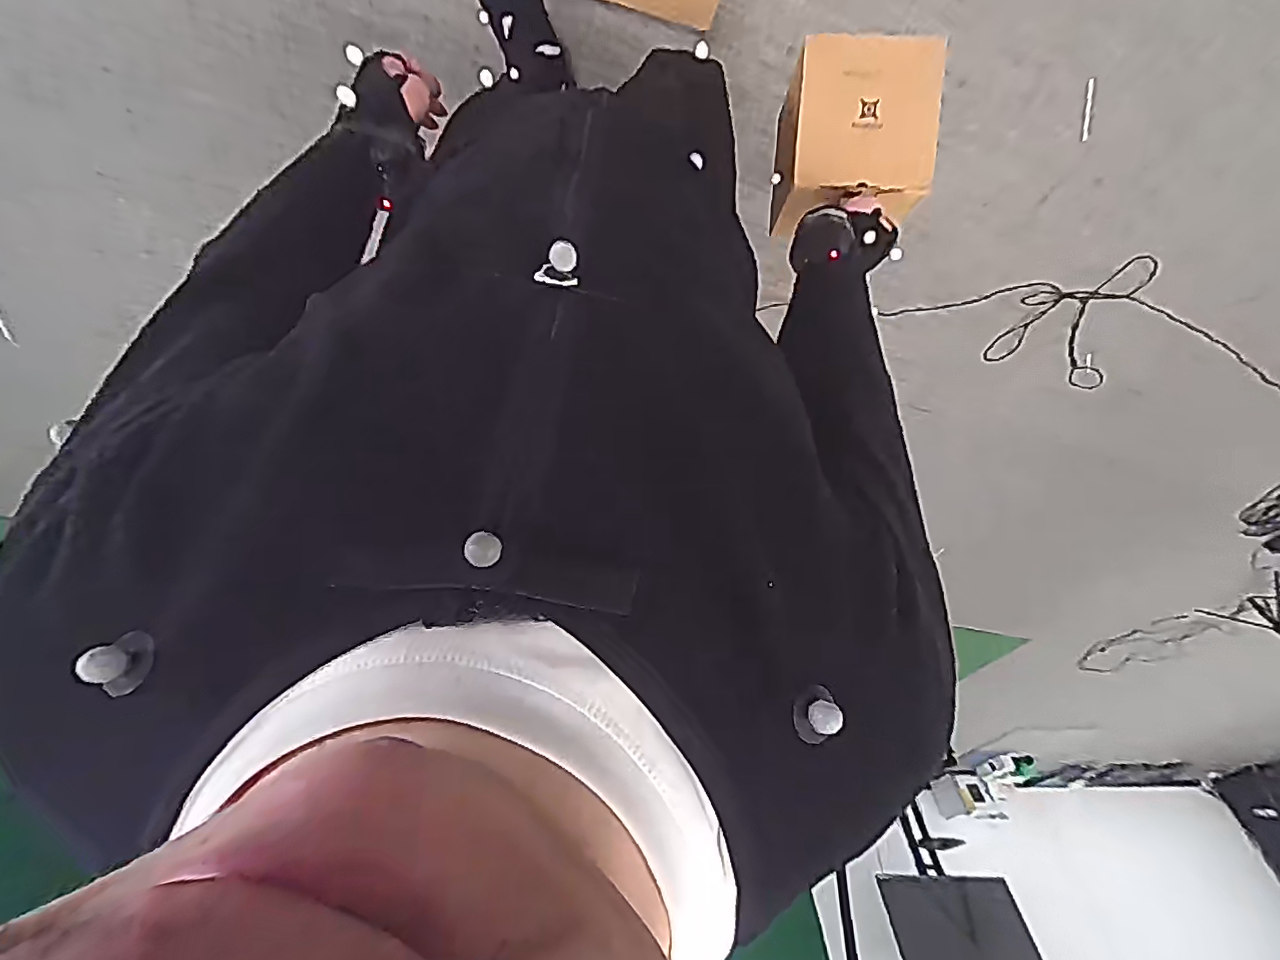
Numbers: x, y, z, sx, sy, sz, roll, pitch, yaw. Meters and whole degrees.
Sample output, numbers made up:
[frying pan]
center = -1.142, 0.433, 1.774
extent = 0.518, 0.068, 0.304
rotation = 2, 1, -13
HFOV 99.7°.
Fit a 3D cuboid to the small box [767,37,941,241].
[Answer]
[small box]
center = 0.269, -0.437, 0.719
extent = 0.168, 0.176, 0.179
rotation = 4, 93, 2
